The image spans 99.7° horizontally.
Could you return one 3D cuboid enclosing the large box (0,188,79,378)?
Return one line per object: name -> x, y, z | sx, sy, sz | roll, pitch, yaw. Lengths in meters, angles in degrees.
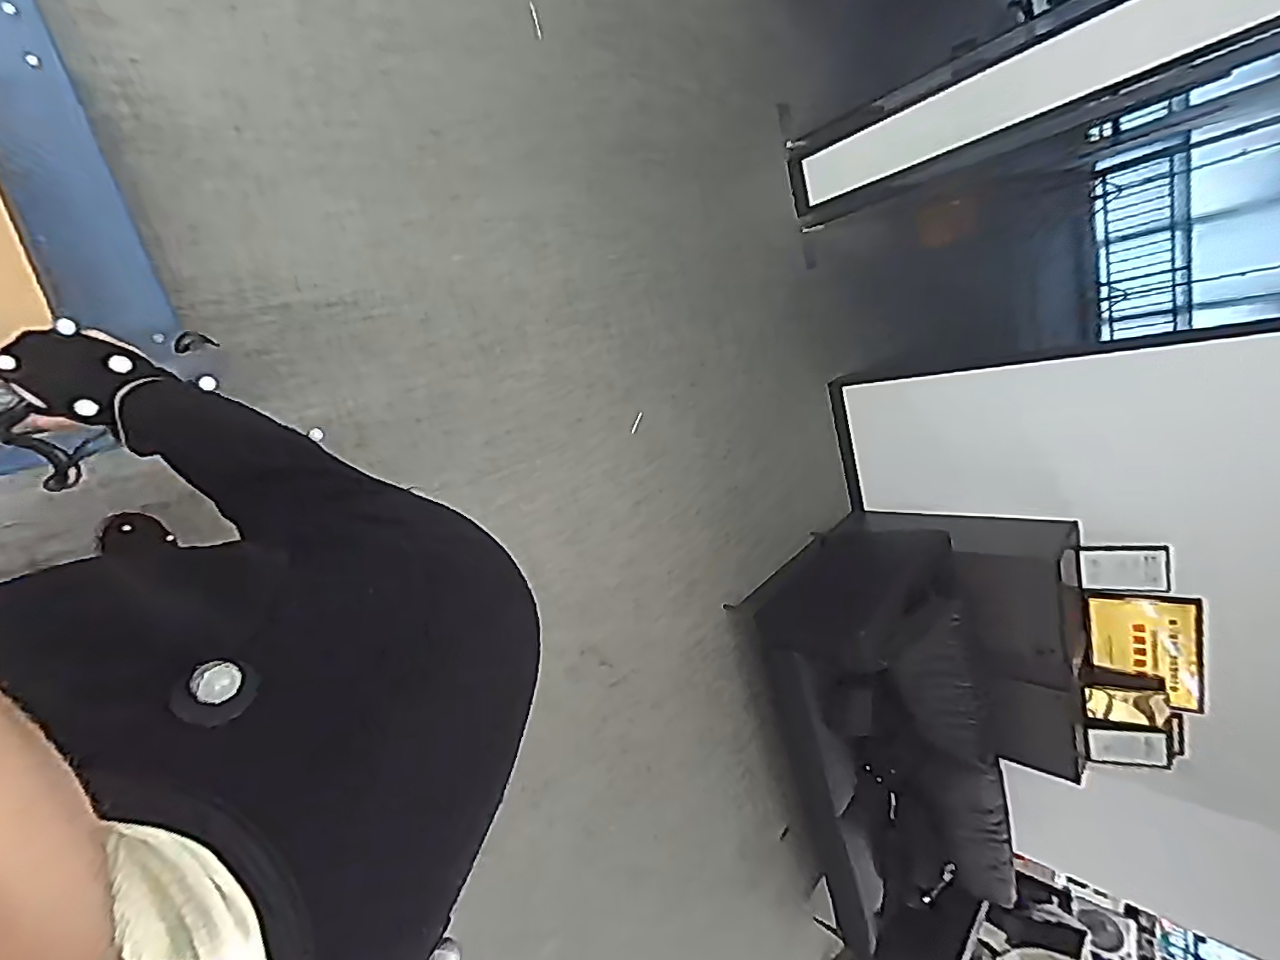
large box -> -1.109, -0.348, 0.770 | 0.320, 0.320, 0.408 | -23, 105, -40
